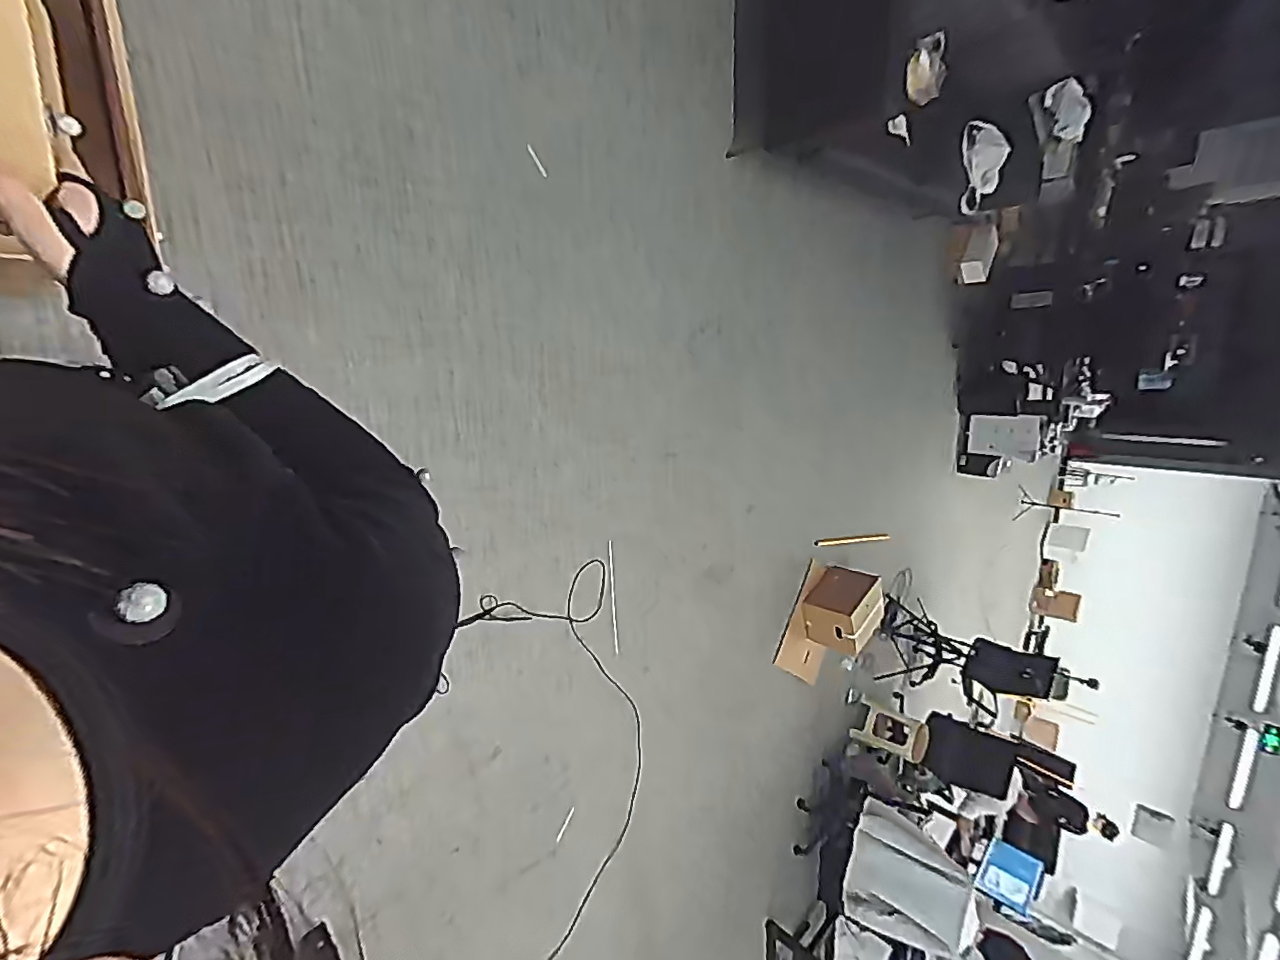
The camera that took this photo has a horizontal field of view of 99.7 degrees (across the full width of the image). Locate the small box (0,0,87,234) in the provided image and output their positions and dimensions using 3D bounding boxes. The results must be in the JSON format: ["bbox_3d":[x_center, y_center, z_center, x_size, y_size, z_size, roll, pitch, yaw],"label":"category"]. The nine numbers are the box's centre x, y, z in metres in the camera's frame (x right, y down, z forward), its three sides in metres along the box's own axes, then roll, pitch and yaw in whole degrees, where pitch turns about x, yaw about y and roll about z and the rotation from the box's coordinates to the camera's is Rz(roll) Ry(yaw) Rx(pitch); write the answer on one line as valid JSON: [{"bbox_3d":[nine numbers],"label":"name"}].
[{"bbox_3d":[-0.497,-0.269,0.353,0.168,0.176,0.179,-8,110,-39],"label":"small box"}]
